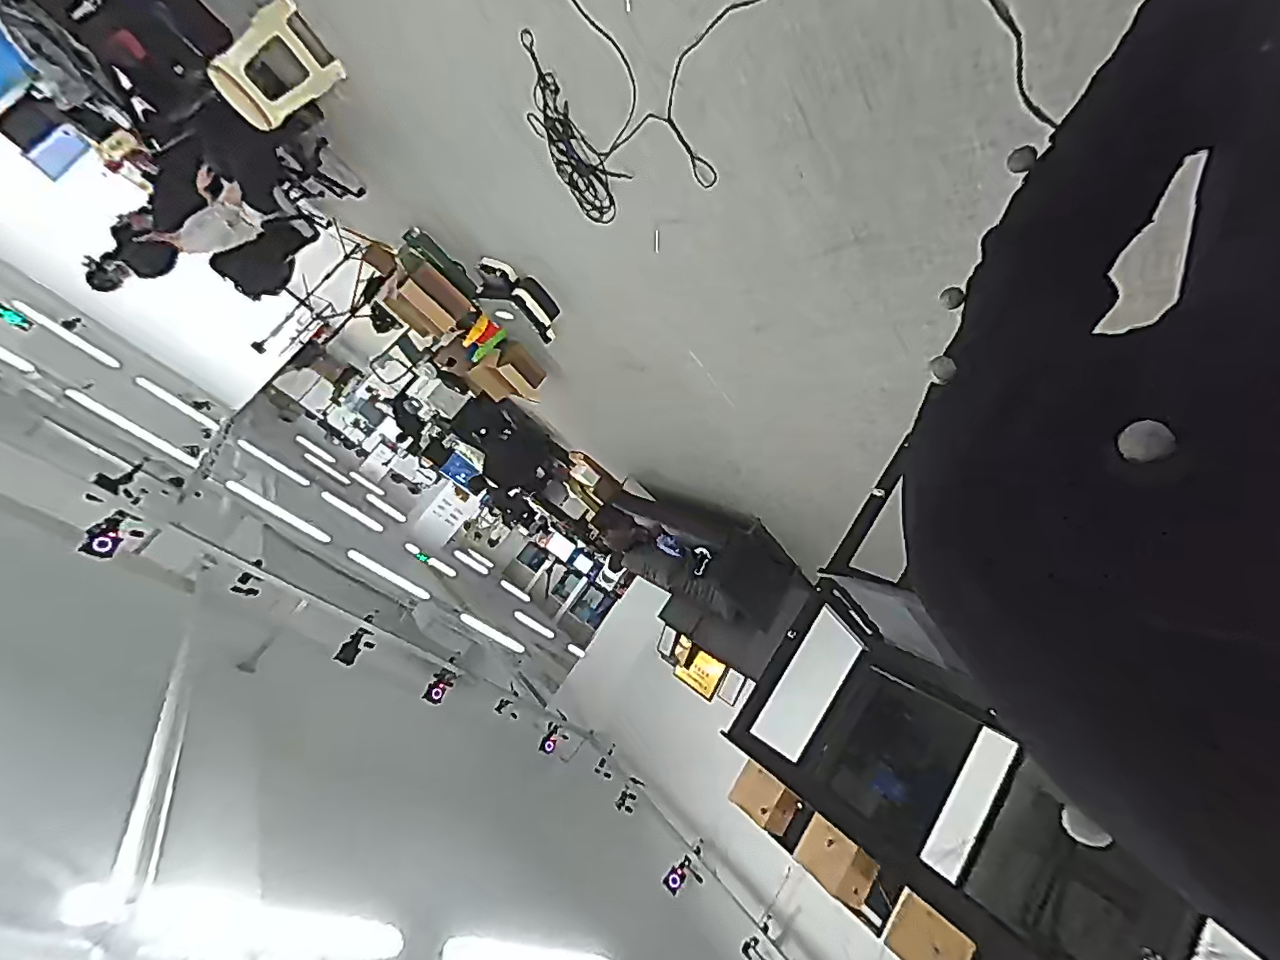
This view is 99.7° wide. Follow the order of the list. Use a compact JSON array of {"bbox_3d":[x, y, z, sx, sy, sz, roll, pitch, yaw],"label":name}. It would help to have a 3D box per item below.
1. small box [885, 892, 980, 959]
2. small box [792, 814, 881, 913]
[{"bbox_3d":[0.796,1.259,1.466,0.168,0.176,0.179,23,162,46],"label":"small box"},{"bbox_3d":[0.621,1.196,1.694,0.179,0.176,0.168,43,165,-28],"label":"small box"}]
